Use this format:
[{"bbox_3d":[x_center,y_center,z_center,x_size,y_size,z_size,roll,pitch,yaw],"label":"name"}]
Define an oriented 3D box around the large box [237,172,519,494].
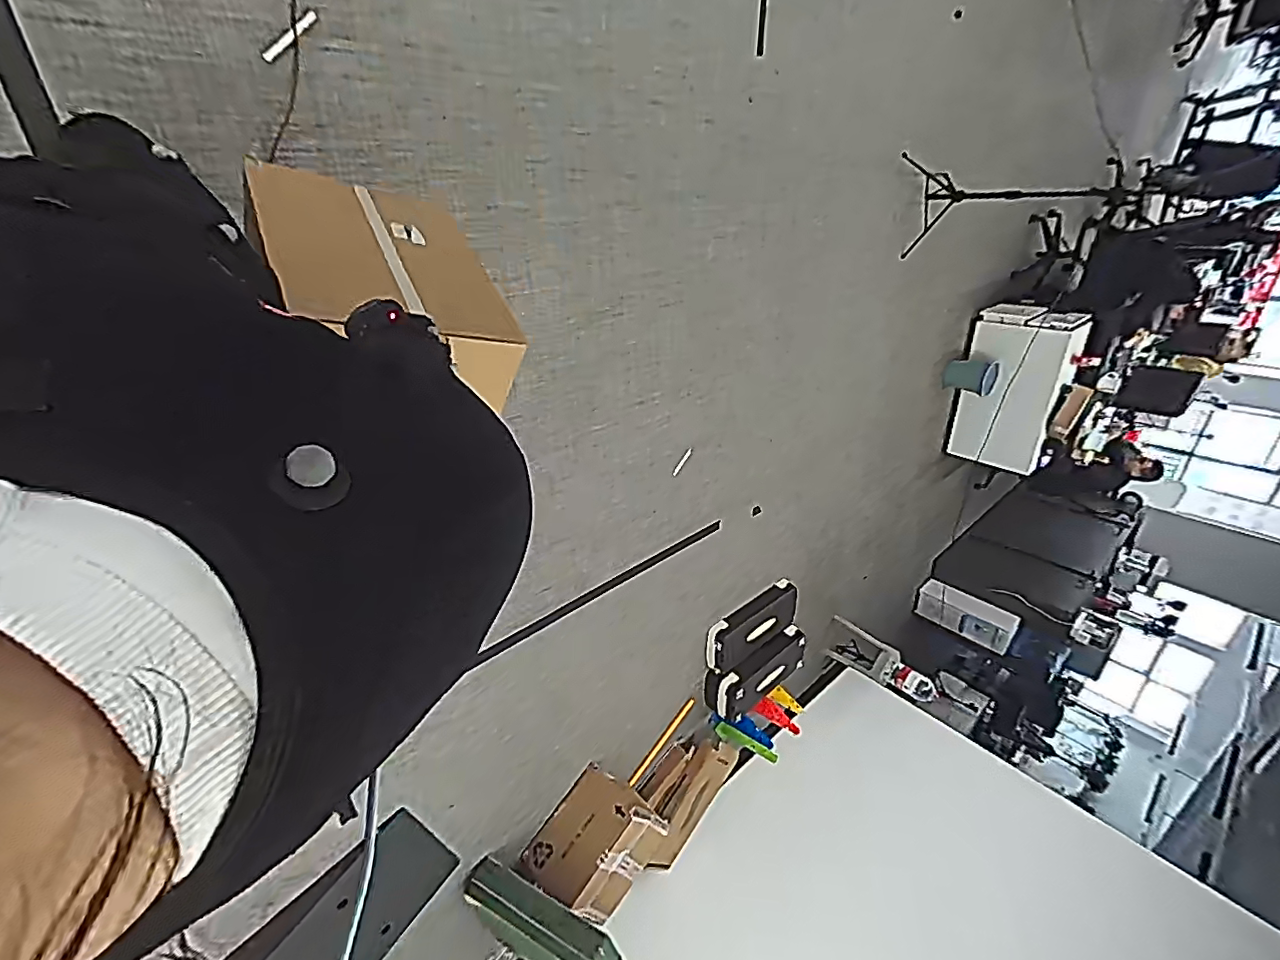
[{"bbox_3d":[-0.458,-0.232,0.905,0.320,0.408,0.320,-4,139,-42],"label":"large box"}]
